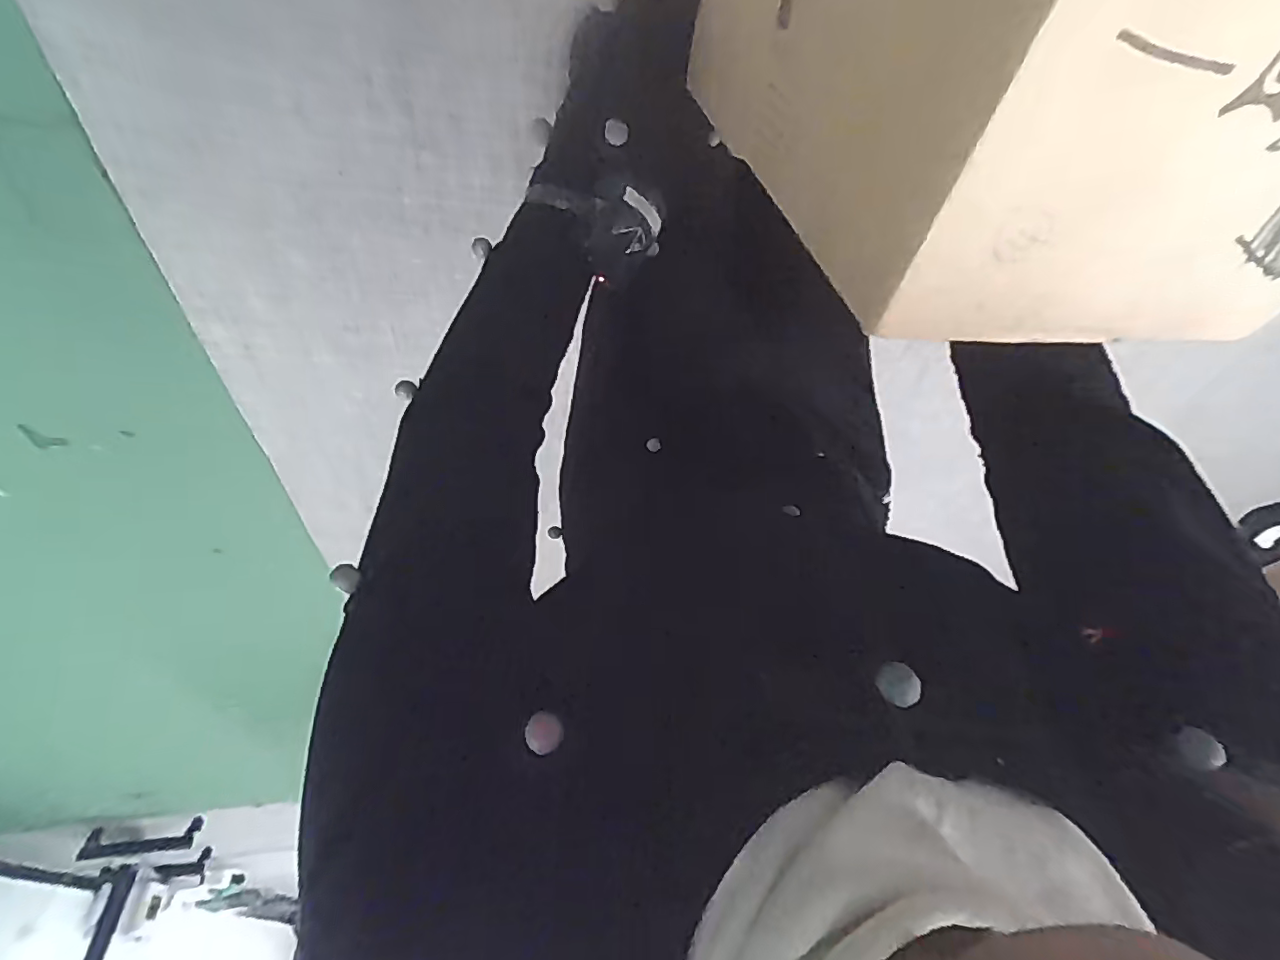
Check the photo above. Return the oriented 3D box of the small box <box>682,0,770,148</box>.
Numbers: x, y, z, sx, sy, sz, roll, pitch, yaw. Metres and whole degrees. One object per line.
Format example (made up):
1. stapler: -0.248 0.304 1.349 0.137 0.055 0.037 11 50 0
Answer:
1. small box: 0.125 -0.302 0.288 0.168 0.176 0.179 -5 142 -10

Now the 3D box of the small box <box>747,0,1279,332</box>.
1. small box: 0.160 -0.172 0.190 0.179 0.176 0.168 -1 141 -11
